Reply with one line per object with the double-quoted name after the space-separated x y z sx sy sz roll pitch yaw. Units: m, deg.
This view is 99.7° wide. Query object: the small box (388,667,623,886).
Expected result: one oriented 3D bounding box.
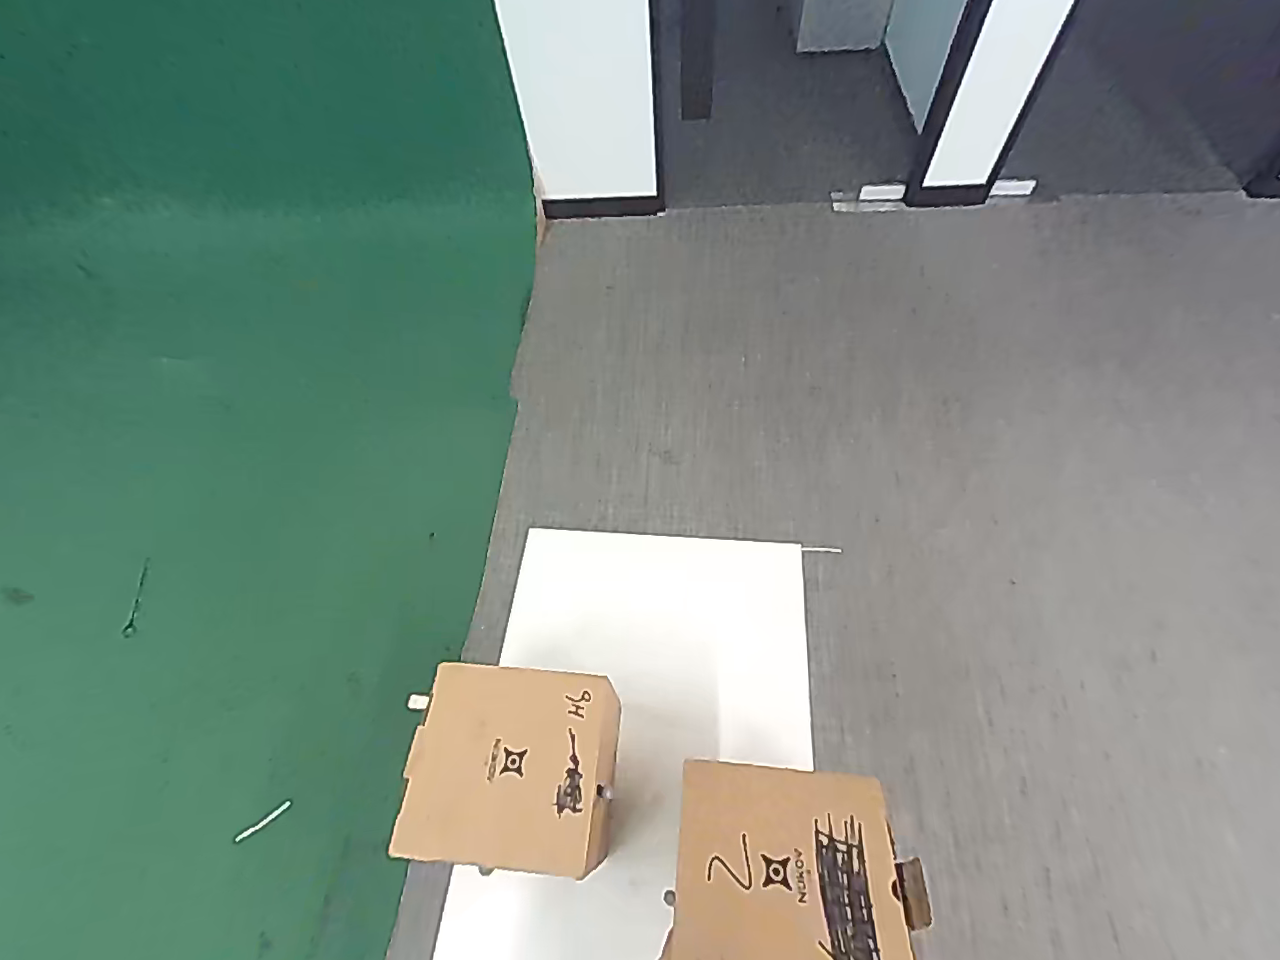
-0.120 0.306 0.566 0.179 0.176 0.168 3 59 6 "small box"
